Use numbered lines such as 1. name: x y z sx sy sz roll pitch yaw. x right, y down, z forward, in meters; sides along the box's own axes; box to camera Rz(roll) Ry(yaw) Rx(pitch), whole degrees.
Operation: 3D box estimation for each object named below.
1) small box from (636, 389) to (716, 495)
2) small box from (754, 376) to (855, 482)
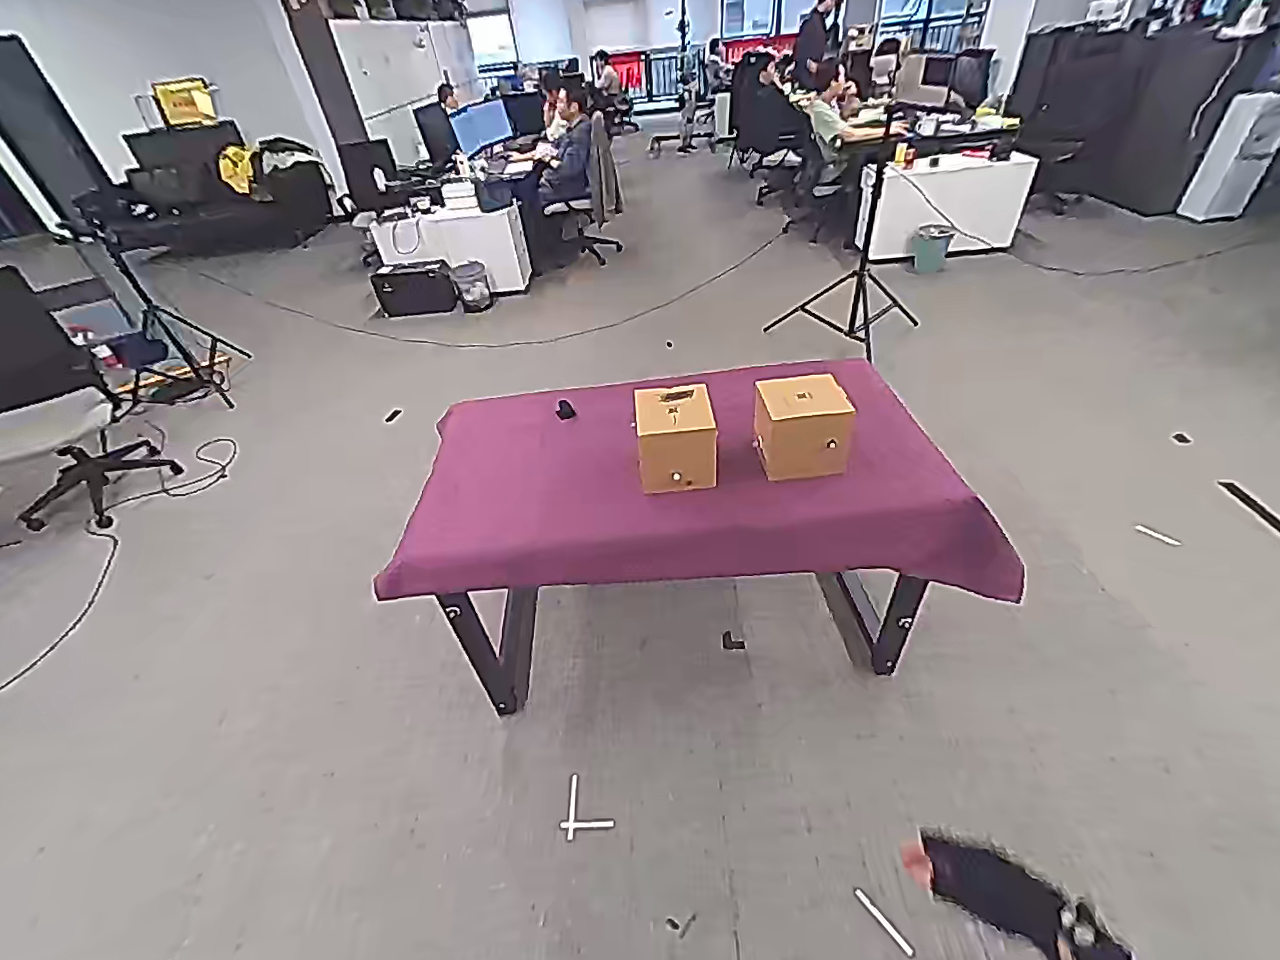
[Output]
1. small box: 0.081 -0.088 1.236 0.168 0.176 0.179 -6 40 2
2. small box: 0.363 -0.114 1.229 0.179 0.176 0.168 -8 38 1
